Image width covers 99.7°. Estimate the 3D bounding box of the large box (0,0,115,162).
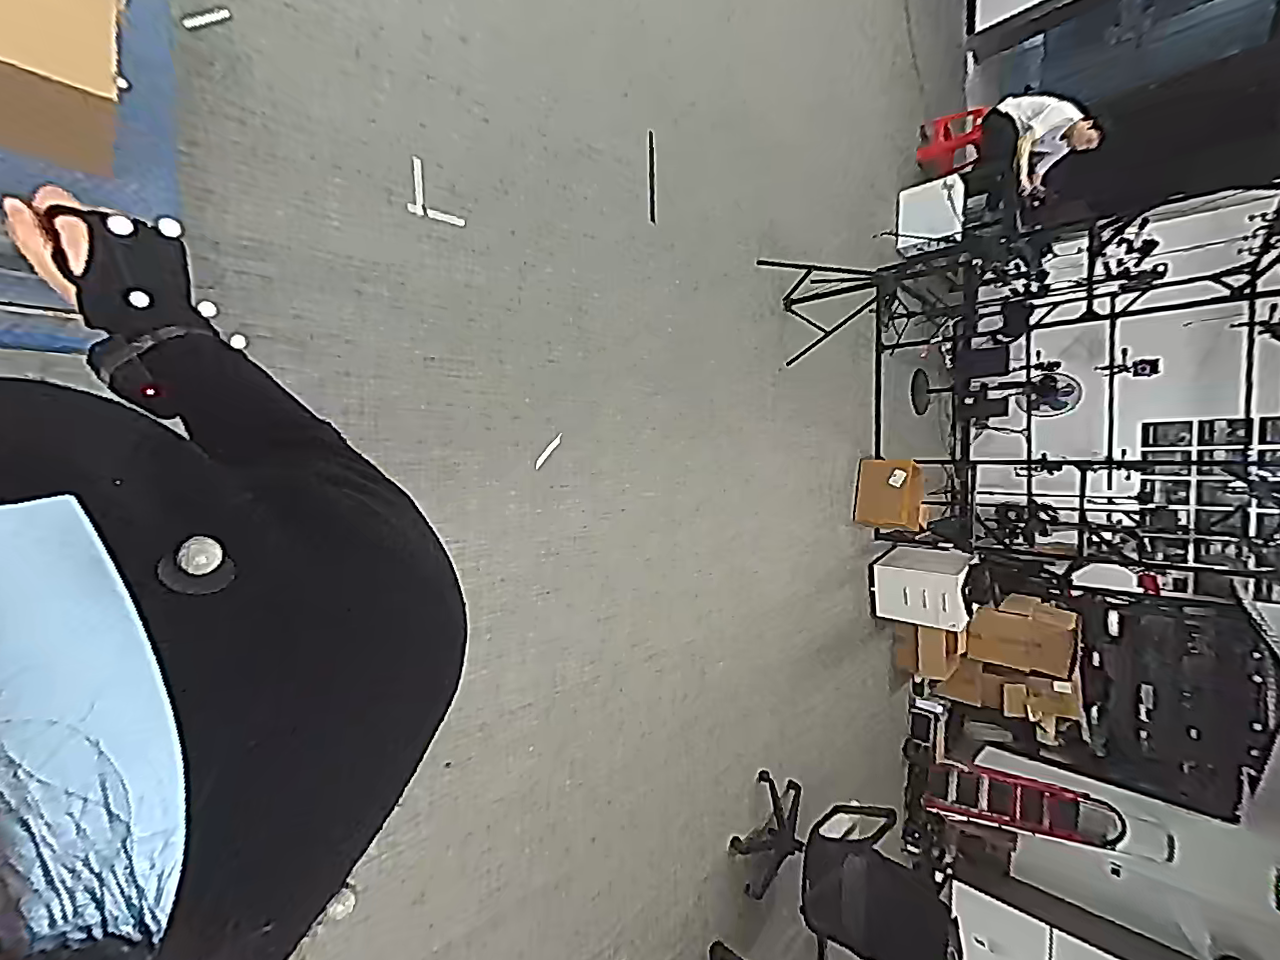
[{"bbox_3d":[-0.981,-0.699,0.712,0.408,0.320,0.320,-1,92,-46],"label":"large box"}]
